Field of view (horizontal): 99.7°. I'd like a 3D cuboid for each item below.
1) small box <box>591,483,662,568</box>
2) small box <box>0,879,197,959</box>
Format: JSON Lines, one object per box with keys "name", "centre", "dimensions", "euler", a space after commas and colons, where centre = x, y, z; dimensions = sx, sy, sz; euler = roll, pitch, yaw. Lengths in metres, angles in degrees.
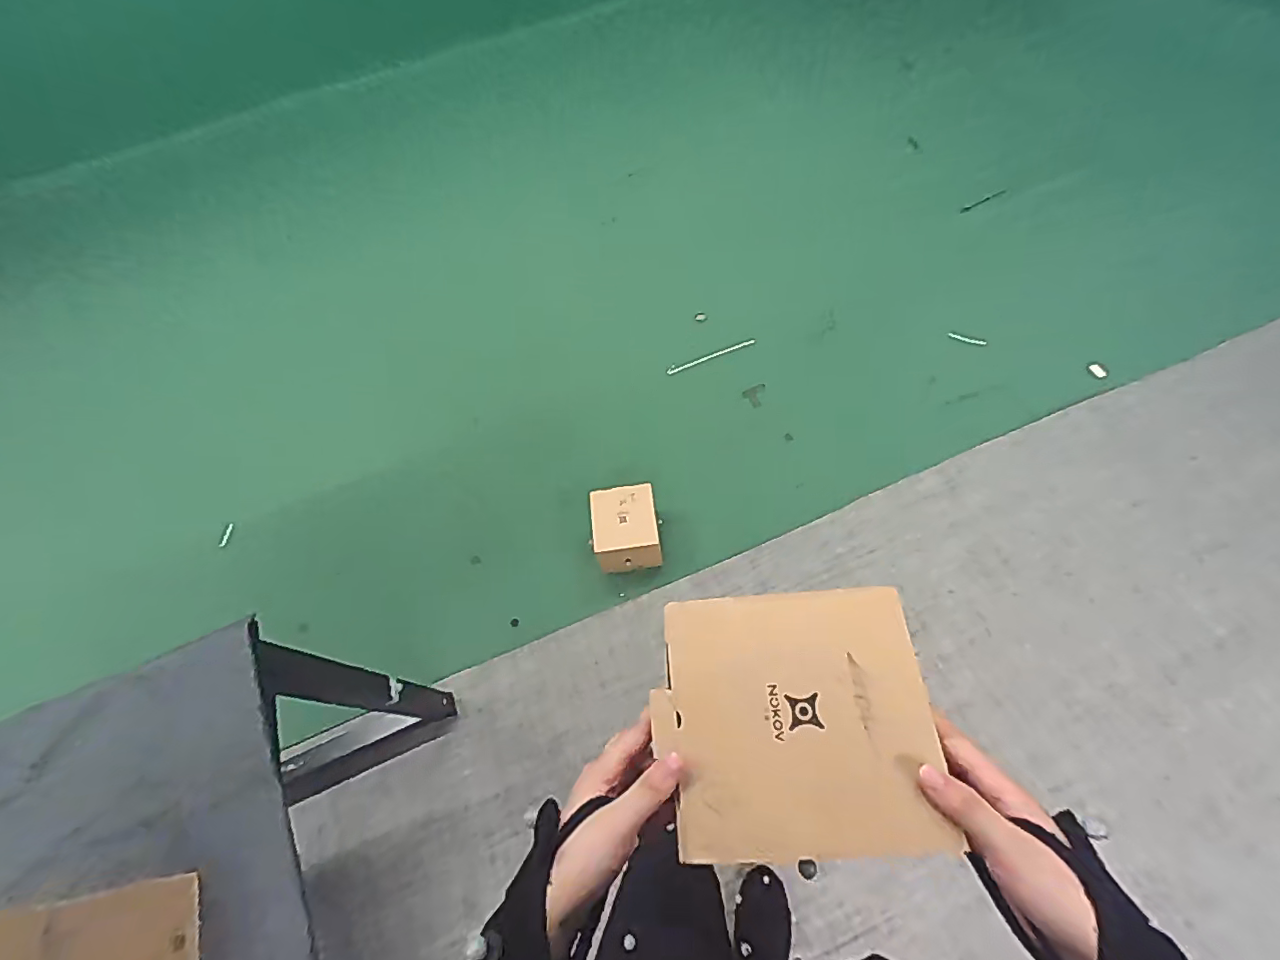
{"name": "small box", "centre": [-0.033, 0.129, 1.447], "dimensions": [0.168, 0.176, 0.179], "euler": [-7, 62, 1]}
{"name": "small box", "centre": [-0.541, 0.494, 0.480], "dimensions": [0.179, 0.176, 0.168], "euler": [-23, 63, -5]}
